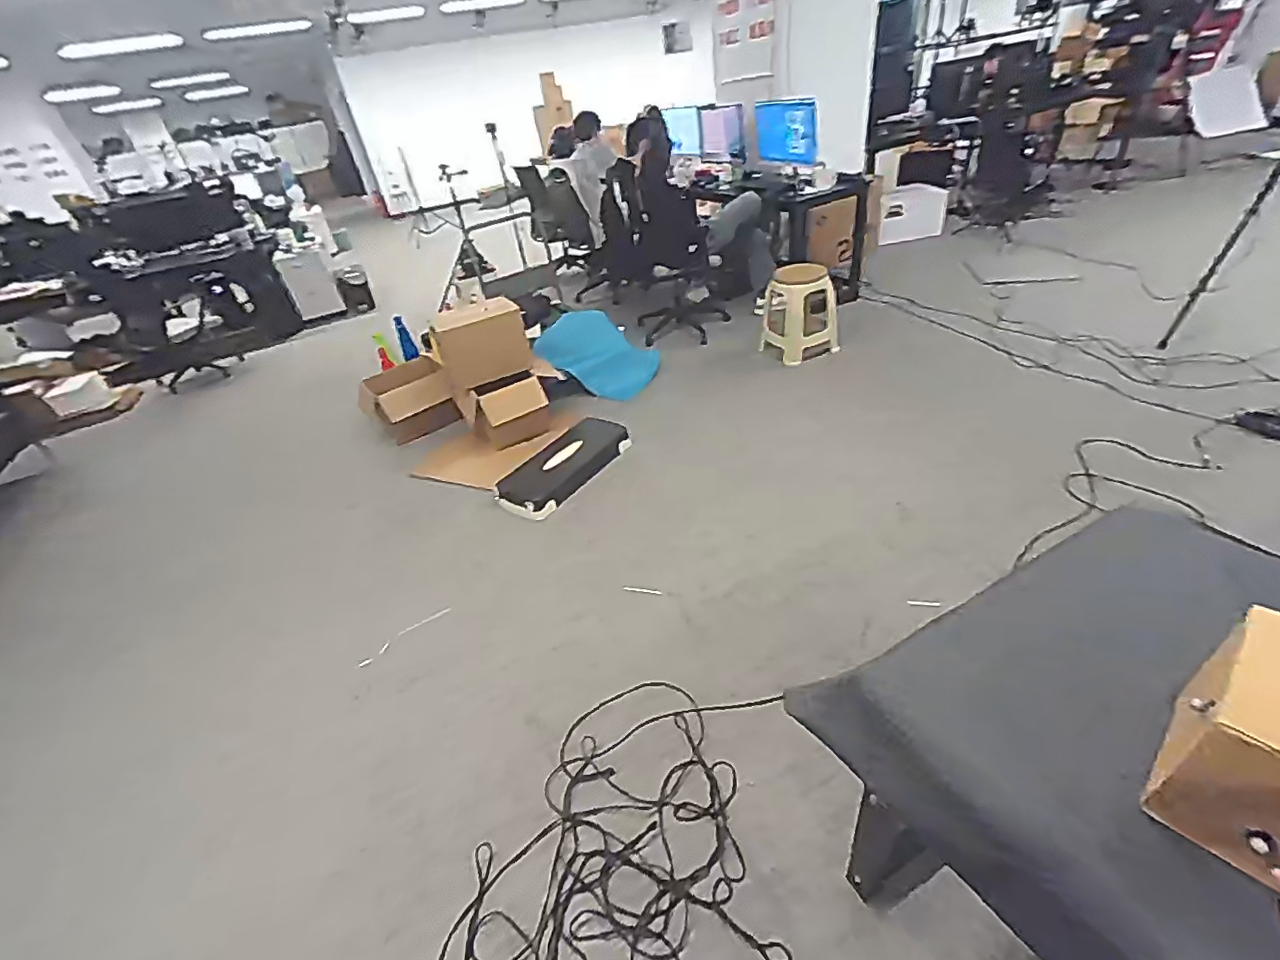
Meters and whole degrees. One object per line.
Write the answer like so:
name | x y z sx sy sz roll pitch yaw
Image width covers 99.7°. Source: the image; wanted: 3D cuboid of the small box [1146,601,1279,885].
small box | 0.620 0.255 0.500 0.179 0.176 0.168 -34 43 -29
